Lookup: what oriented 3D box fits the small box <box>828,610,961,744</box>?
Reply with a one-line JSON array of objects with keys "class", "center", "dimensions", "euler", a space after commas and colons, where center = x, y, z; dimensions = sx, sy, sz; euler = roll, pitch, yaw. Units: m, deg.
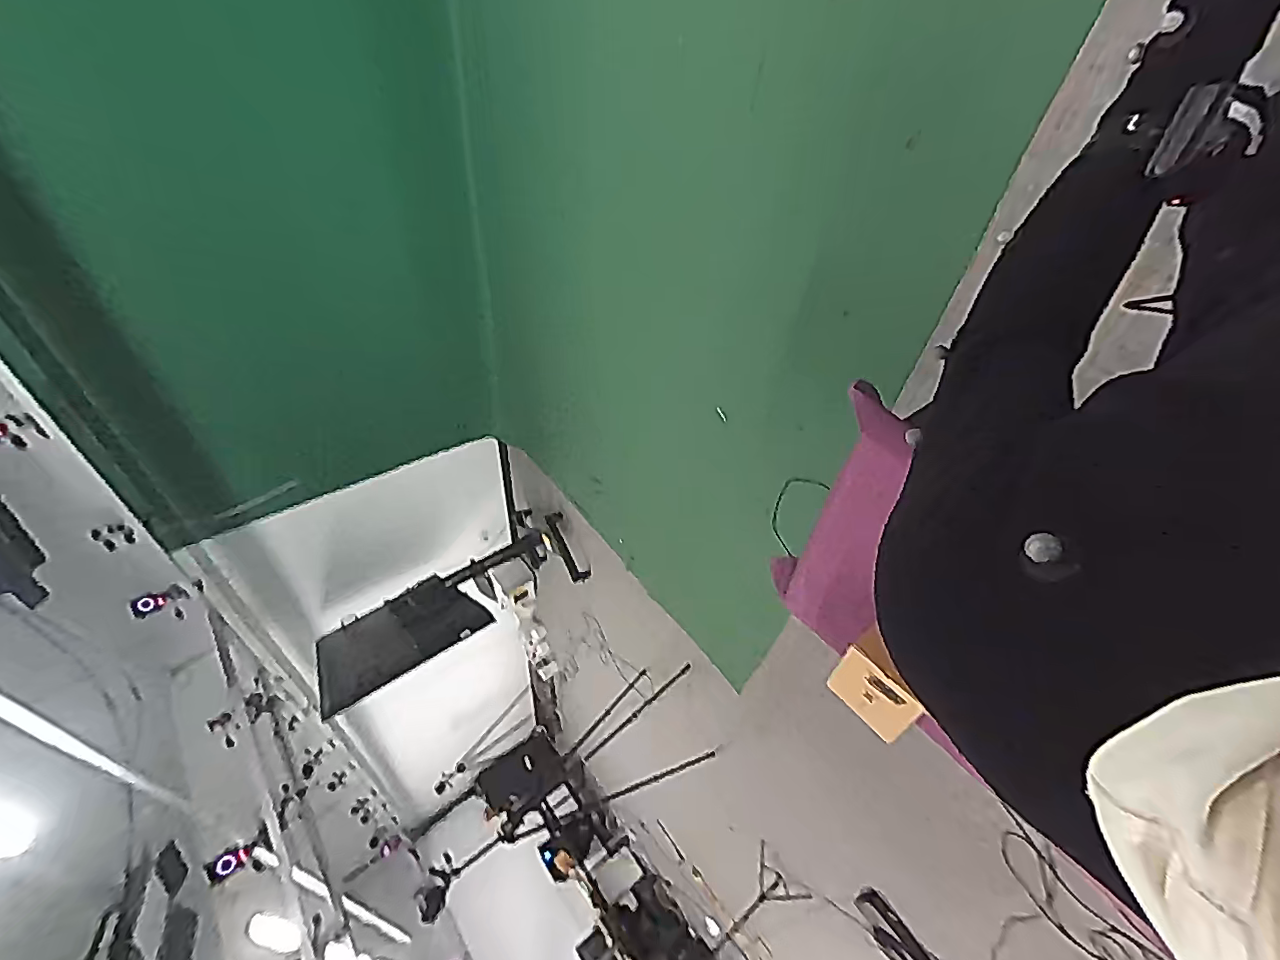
[{"class": "small box", "center": [0.535, 0.407, 1.137], "dimensions": [0.168, 0.176, 0.179], "euler": [43, 146, 32]}]
